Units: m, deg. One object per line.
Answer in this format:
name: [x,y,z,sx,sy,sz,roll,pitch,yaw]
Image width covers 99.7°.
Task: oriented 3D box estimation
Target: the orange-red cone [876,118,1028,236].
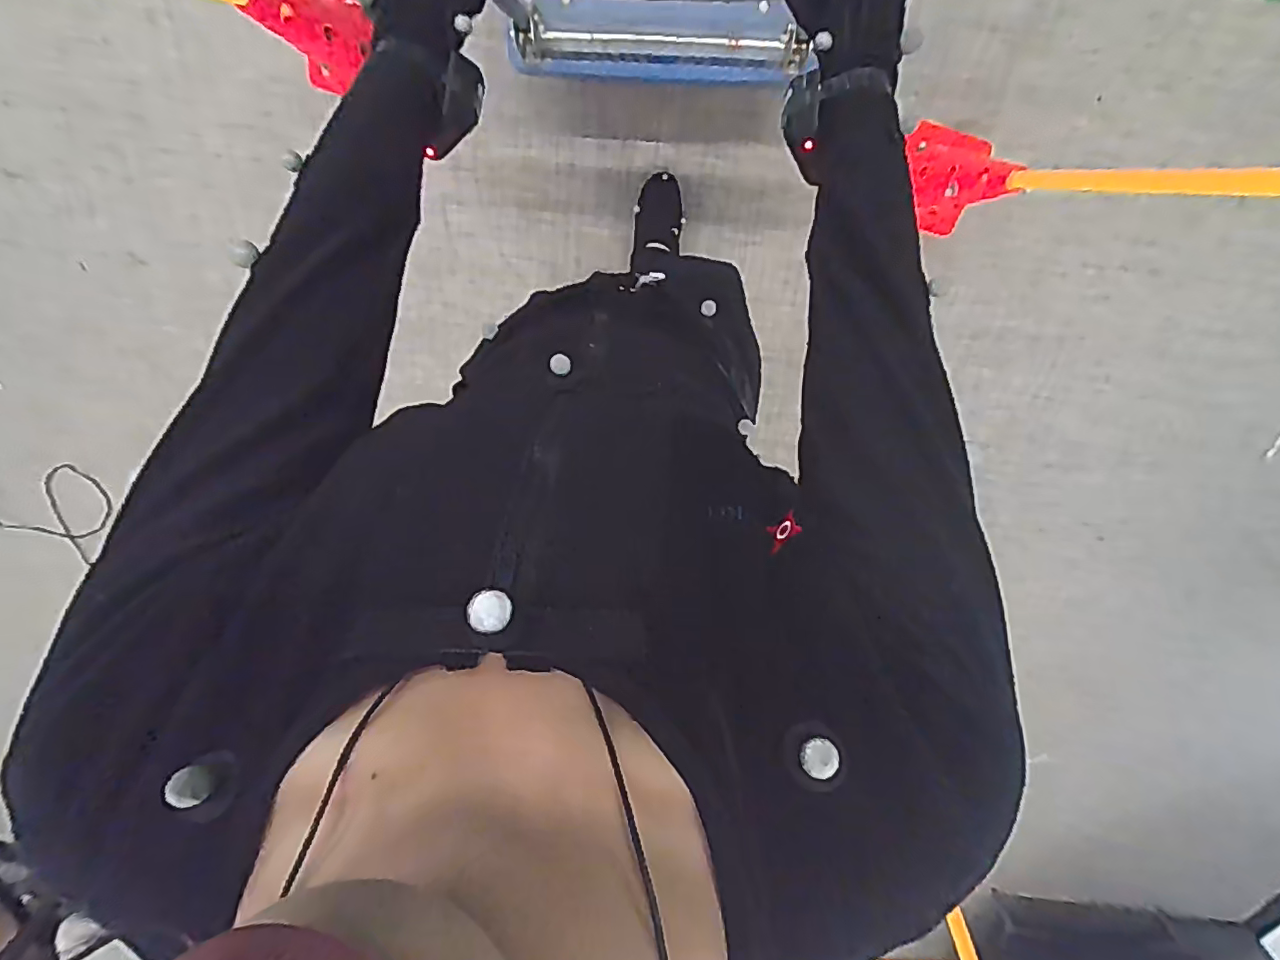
orange-red cone: [0.647,-0.591,1.063,0.198,0.360,0.199,16,119,-5]
